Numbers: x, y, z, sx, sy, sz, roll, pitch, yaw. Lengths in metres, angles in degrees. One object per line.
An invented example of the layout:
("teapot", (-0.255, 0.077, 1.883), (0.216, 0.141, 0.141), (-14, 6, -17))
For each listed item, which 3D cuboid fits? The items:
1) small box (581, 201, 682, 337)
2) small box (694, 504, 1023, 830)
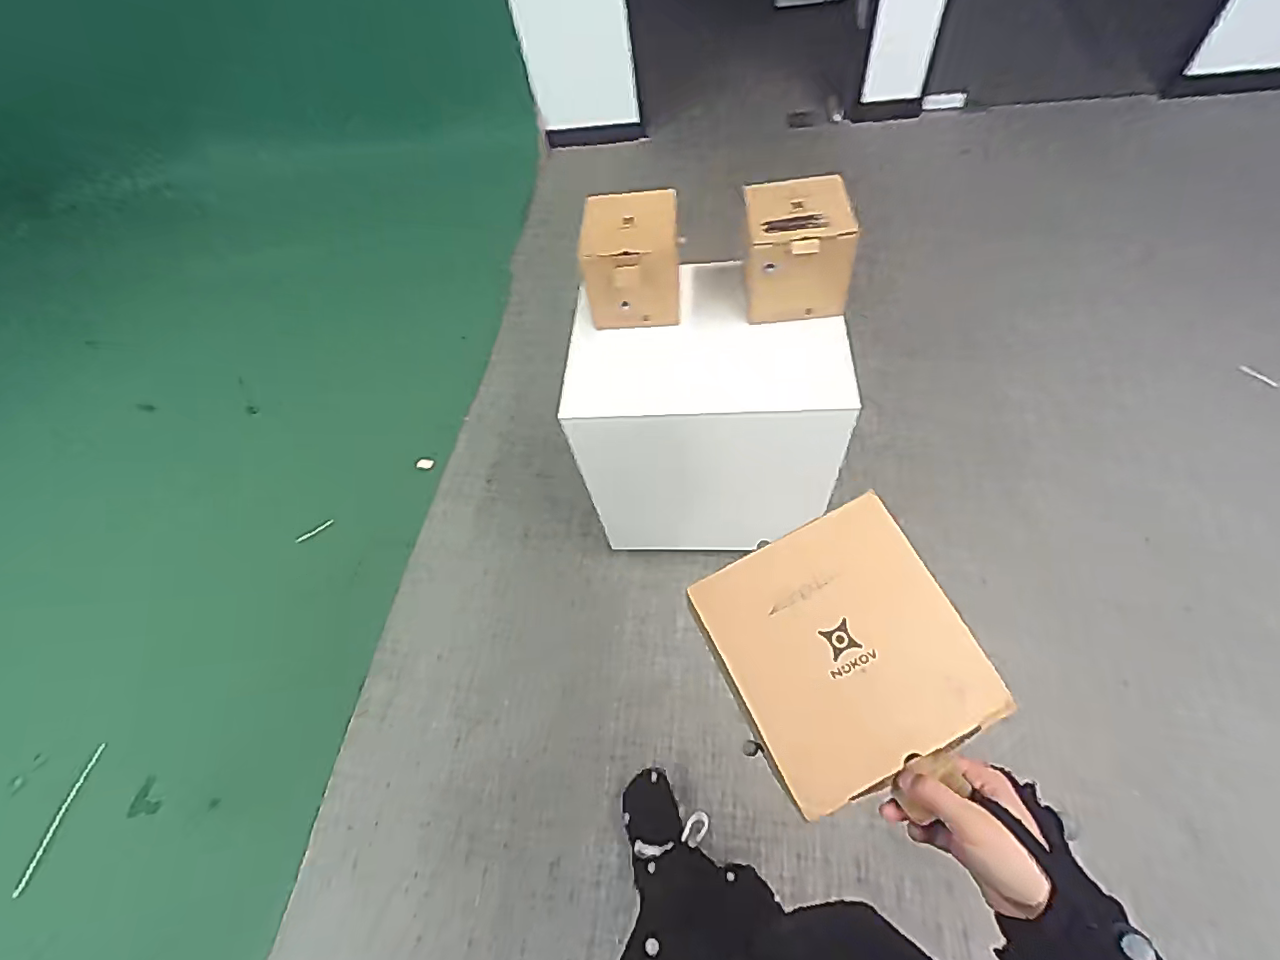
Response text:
("small box", (-0.008, -0.394, 1.022), (0.168, 0.176, 0.179), (-1, 59, 7))
("small box", (0.158, 0.149, 0.461), (0.168, 0.176, 0.179), (-26, 70, -3))
